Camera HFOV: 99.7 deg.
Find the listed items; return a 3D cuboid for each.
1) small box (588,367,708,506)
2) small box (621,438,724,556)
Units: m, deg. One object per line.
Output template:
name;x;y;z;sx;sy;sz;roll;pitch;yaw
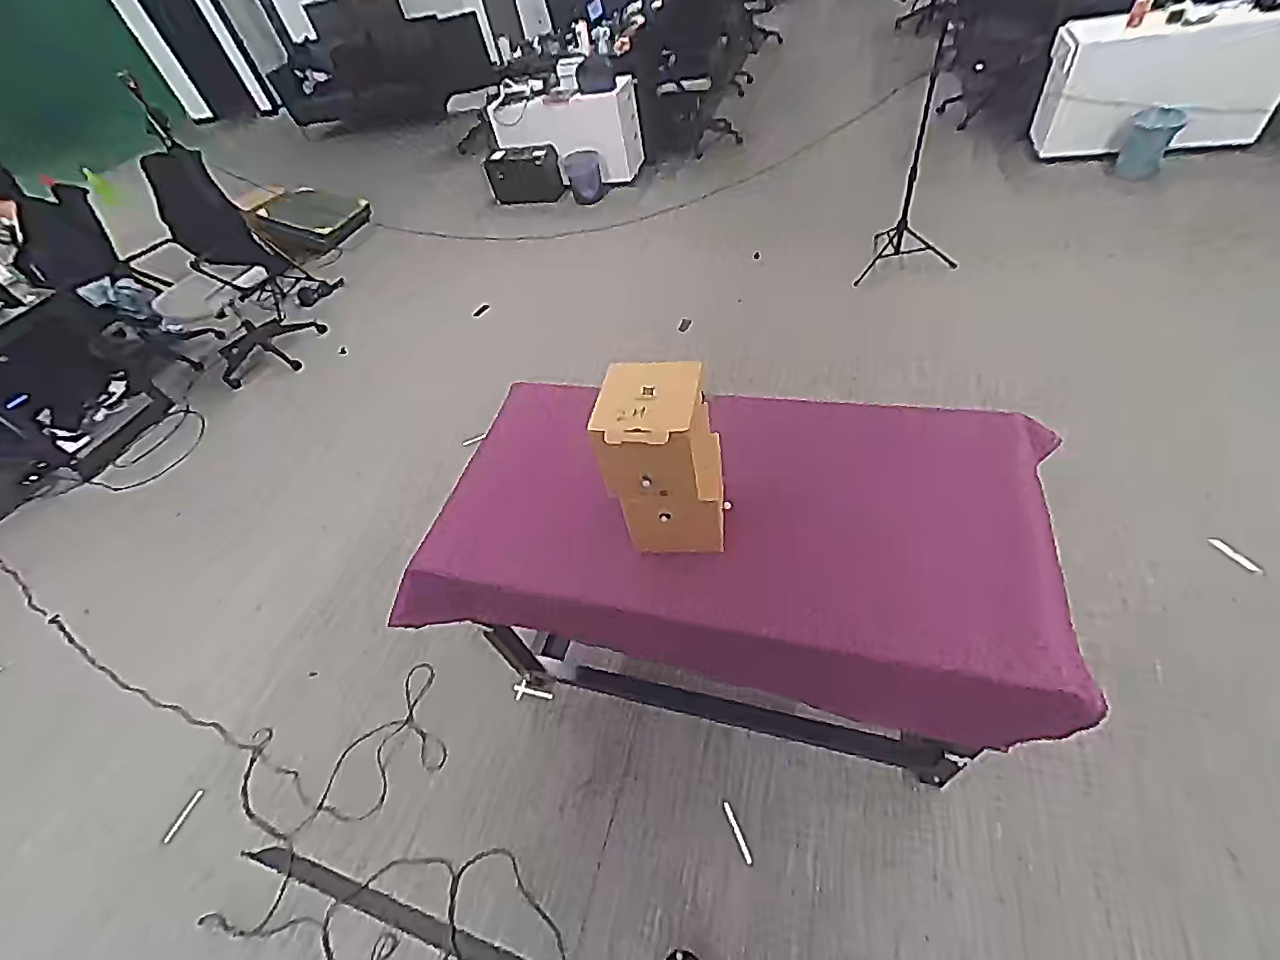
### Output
small box;0.025;-0.077;0.943;0.168;0.176;0.179;2;50;15
small box;0.072;0.037;1.055;0.179;0.176;0.168;-2;50;11
